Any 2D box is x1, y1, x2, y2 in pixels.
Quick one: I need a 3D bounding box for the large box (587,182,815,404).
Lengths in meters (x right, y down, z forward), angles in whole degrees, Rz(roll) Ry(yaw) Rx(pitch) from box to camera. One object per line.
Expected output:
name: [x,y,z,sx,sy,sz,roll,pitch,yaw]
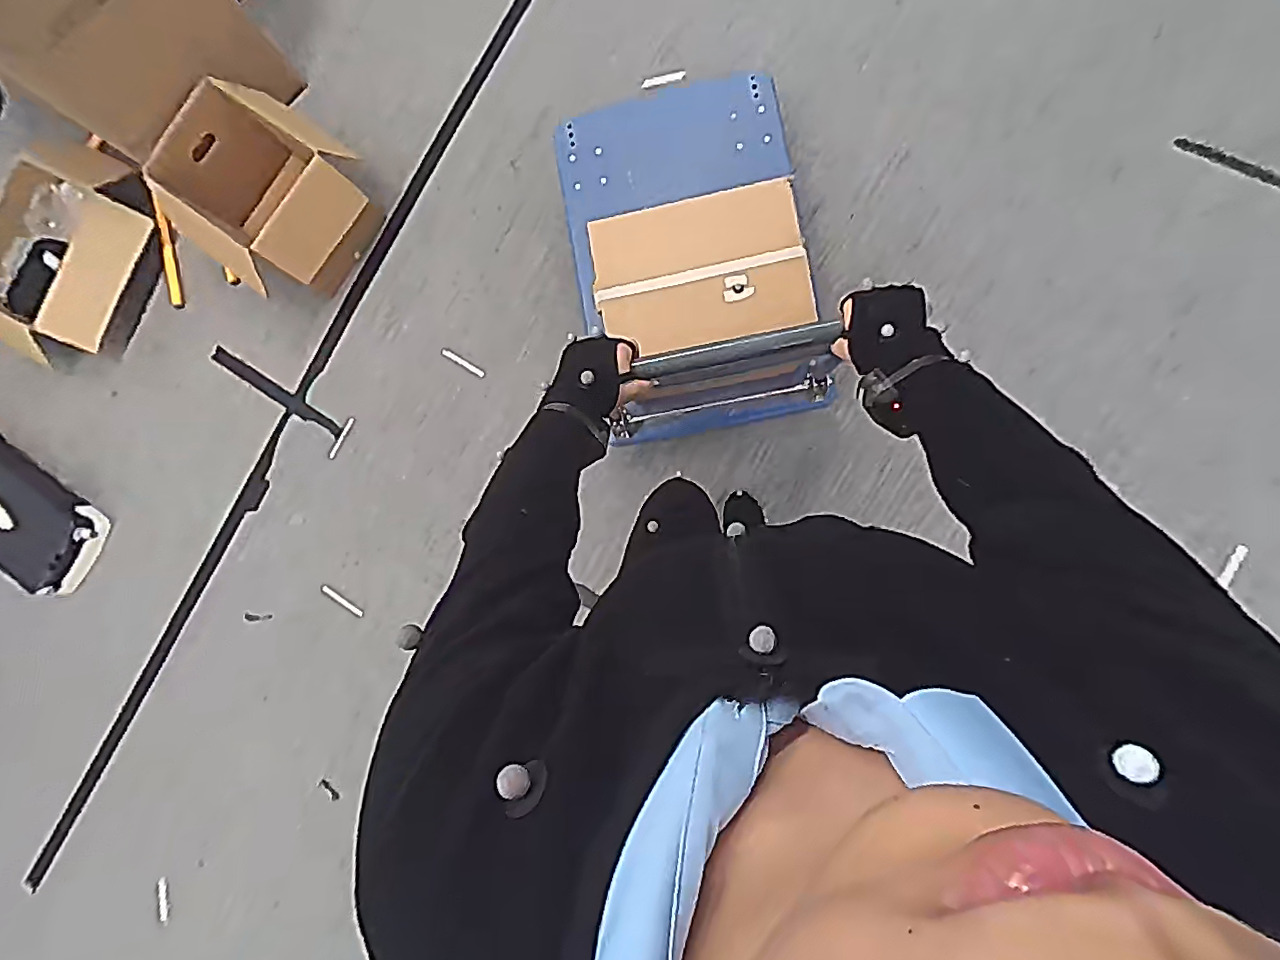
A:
large box: [0.127,-0.382,1.201,0.408,0.320,0.320,-10,86,5]
